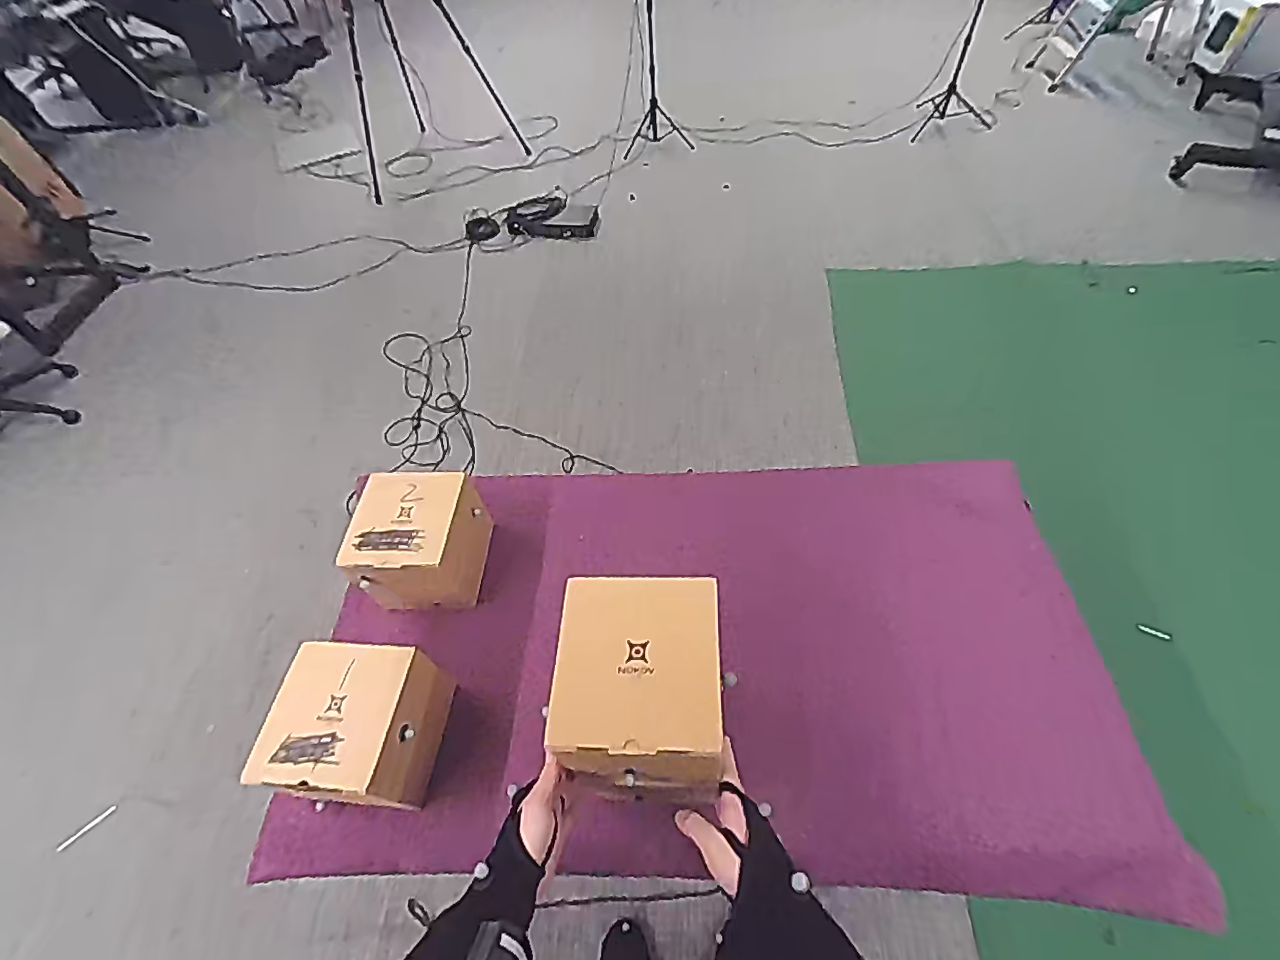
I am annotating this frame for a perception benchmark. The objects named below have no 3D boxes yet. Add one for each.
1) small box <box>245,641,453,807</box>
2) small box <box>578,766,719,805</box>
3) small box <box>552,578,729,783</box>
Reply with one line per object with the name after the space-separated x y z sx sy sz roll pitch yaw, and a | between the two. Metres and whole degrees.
-0.380 0.341 0.750 0.168 0.176 0.179 2 53 6 | small box
0.019 0.325 0.730 0.168 0.176 0.179 -1 54 6 | small box
0.009 0.225 0.603 0.168 0.176 0.179 -1 55 5 | small box
